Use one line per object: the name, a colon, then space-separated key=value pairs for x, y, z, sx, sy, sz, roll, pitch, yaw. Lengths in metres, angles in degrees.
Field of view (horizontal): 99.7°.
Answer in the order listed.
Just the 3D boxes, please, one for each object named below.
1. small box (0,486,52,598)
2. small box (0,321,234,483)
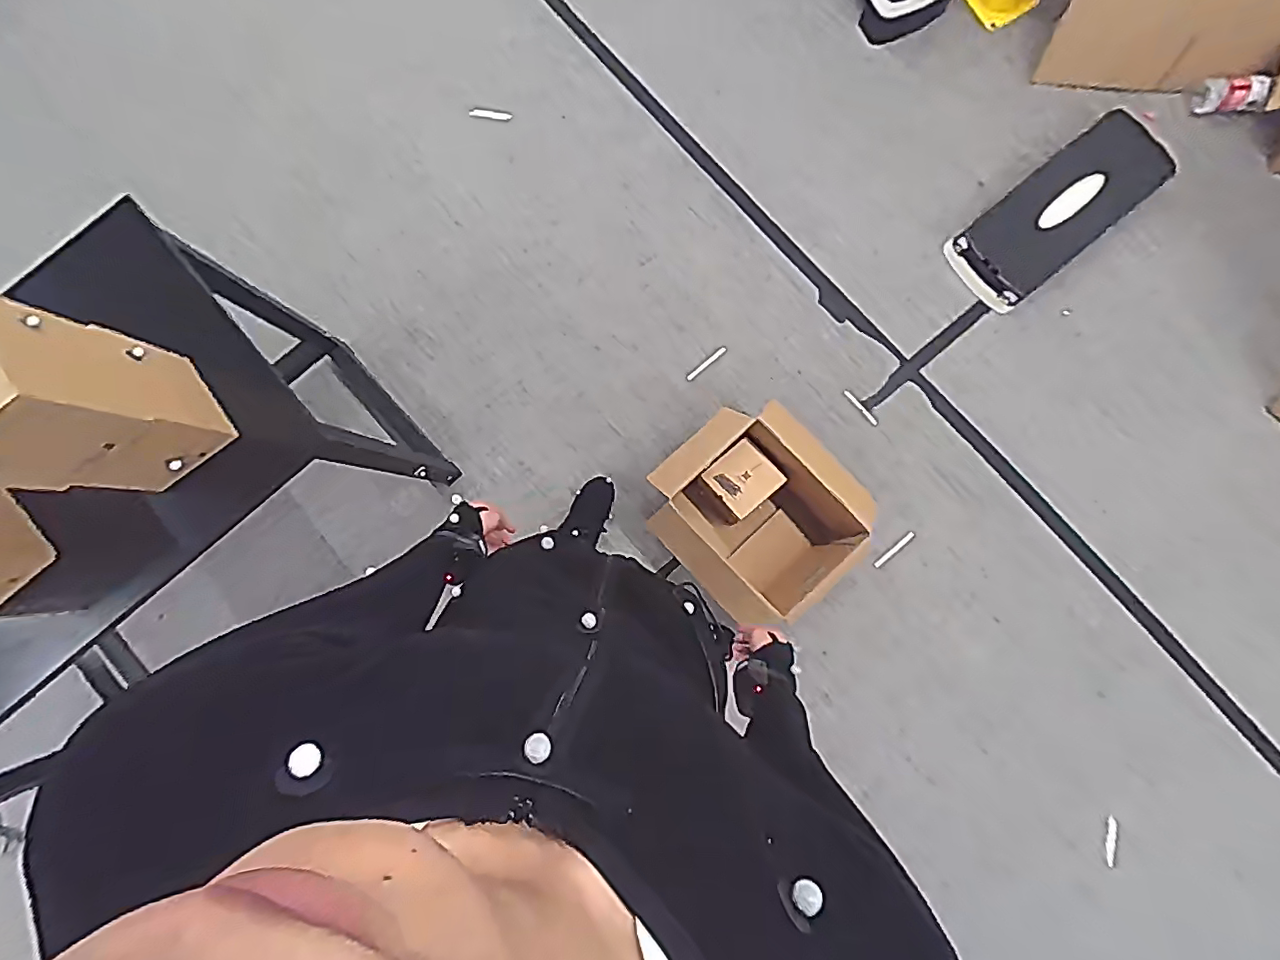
small box: x=-1.112 y=0.104 z=0.844 sx=0.168 sy=0.176 sz=0.179 roll=-41 pitch=86 yaw=-2
small box: x=-0.807 y=-0.110 z=0.854 sx=0.168 sy=0.176 sz=0.179 roll=-36 pitch=85 yaw=-1
